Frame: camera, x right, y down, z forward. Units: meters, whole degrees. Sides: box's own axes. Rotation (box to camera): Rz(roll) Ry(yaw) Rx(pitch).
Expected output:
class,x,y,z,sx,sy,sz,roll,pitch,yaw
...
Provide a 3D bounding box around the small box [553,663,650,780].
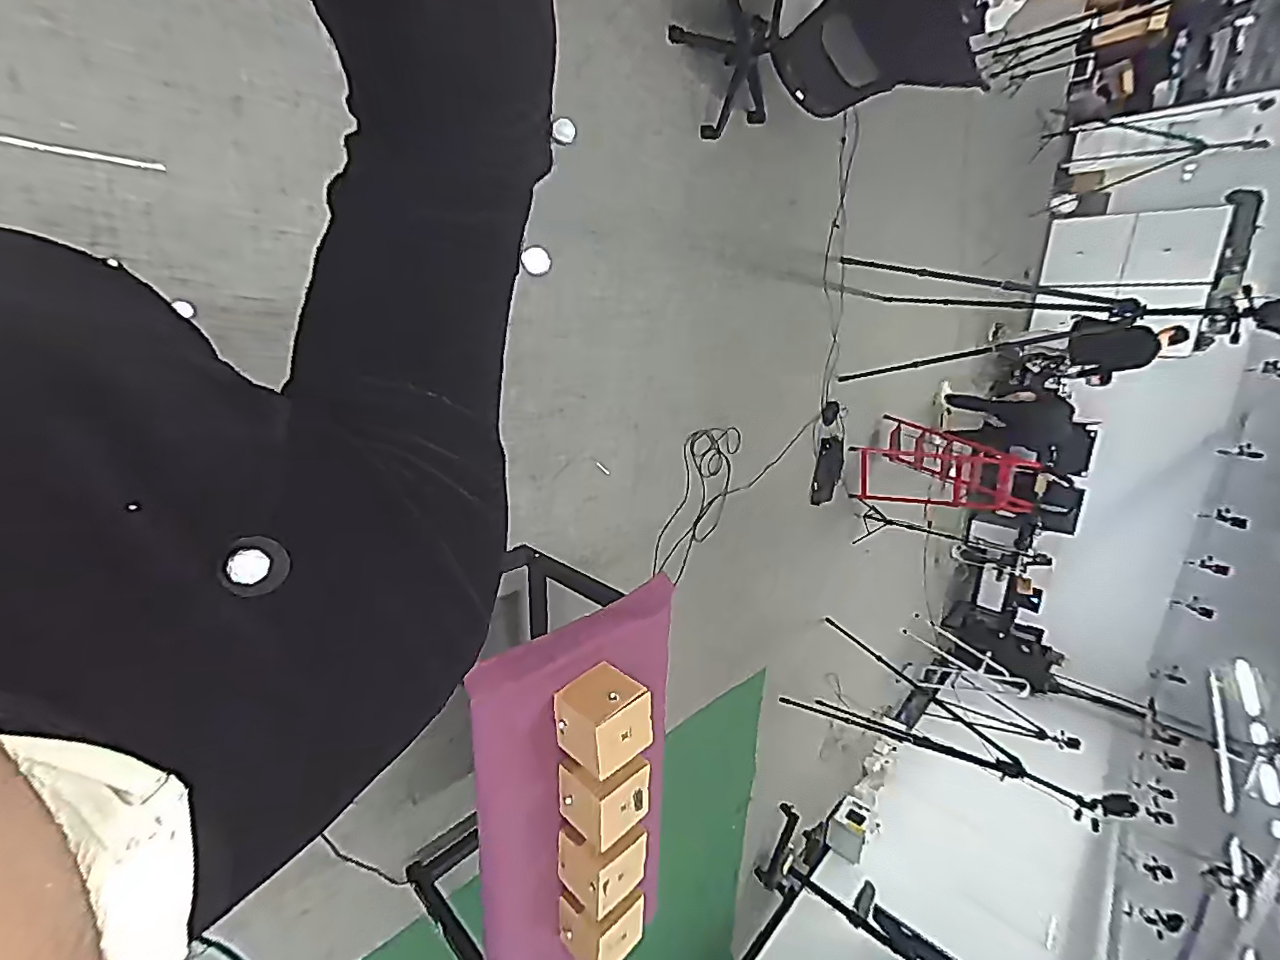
class,x,y,z,sx,sy,sz,roll,pitch,yaw
small box,-0.095,0.595,1.359,0.179,0.176,0.168,-20,116,-41

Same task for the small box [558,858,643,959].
class,x,y,z,sx,sy,sz,roll,pitch,yaw
small box,-0.113,1.243,1.546,0.179,0.176,0.168,-12,110,-44

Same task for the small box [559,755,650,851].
class,x,y,z,sx,sy,sz,roll,pitch,yaw
small box,-0.095,0.812,1.428,0.179,0.176,0.168,-14,112,-43
